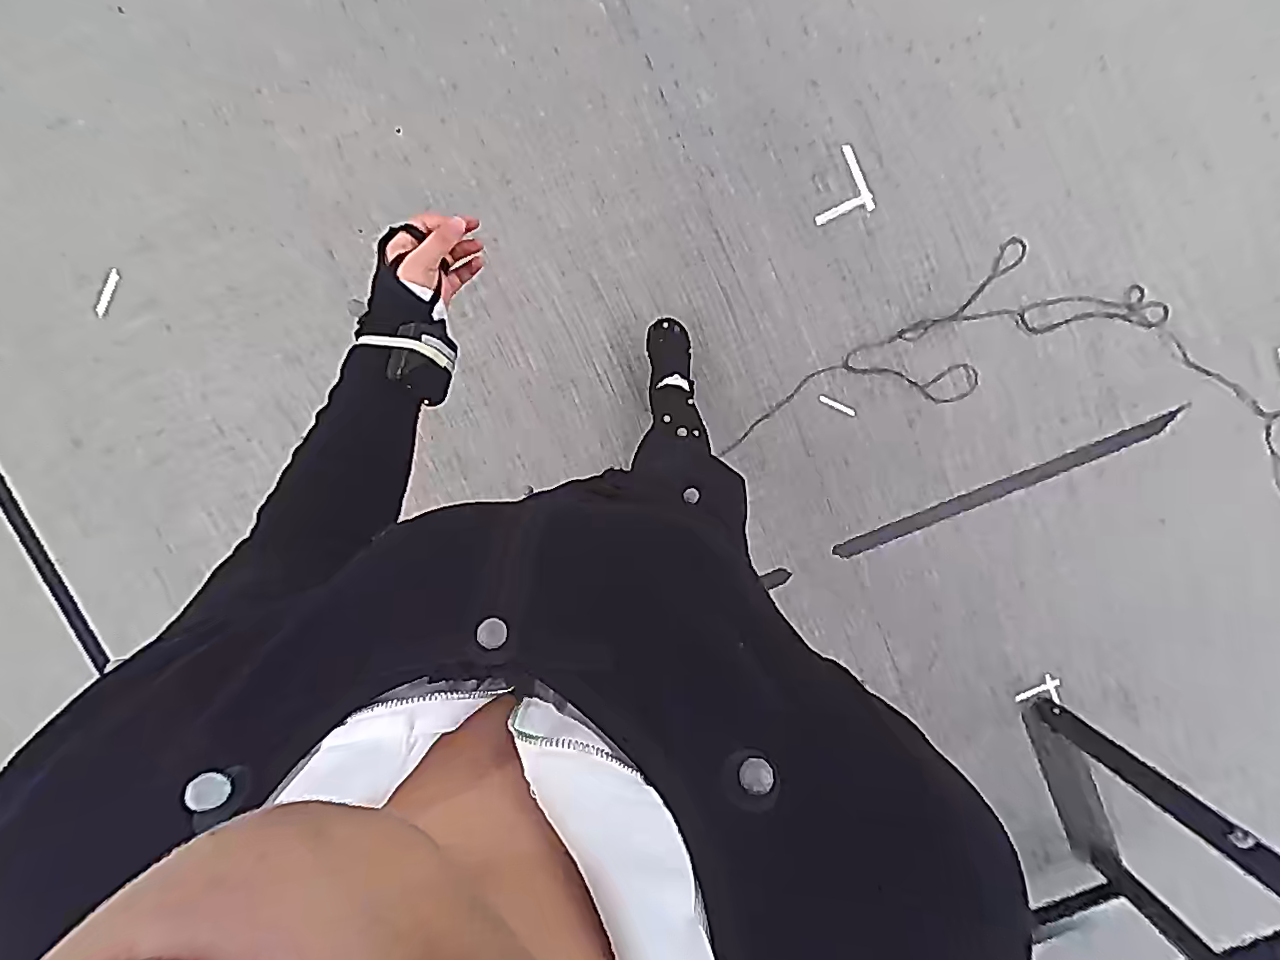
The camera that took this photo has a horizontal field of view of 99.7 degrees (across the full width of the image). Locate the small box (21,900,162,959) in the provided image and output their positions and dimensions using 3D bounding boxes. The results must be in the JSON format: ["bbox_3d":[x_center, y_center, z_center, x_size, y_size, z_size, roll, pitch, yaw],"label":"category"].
[{"bbox_3d":[-1.038,0.927,0.992,0.179,0.176,0.168,-21,94,3],"label":"small box"}]

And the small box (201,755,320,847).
[{"bbox_3d":[-1.031,0.891,1.484,0.168,0.176,0.179,-24,96,3],"label":"small box"}]

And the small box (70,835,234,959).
[{"bbox_3d":[-1.034,0.915,1.156,0.179,0.176,0.168,-25,95,2],"label":"small box"}]

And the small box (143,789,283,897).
[{"bbox_3d":[-1.031,0.904,1.320,0.179,0.176,0.168,-25,95,3],"label":"small box"}]
